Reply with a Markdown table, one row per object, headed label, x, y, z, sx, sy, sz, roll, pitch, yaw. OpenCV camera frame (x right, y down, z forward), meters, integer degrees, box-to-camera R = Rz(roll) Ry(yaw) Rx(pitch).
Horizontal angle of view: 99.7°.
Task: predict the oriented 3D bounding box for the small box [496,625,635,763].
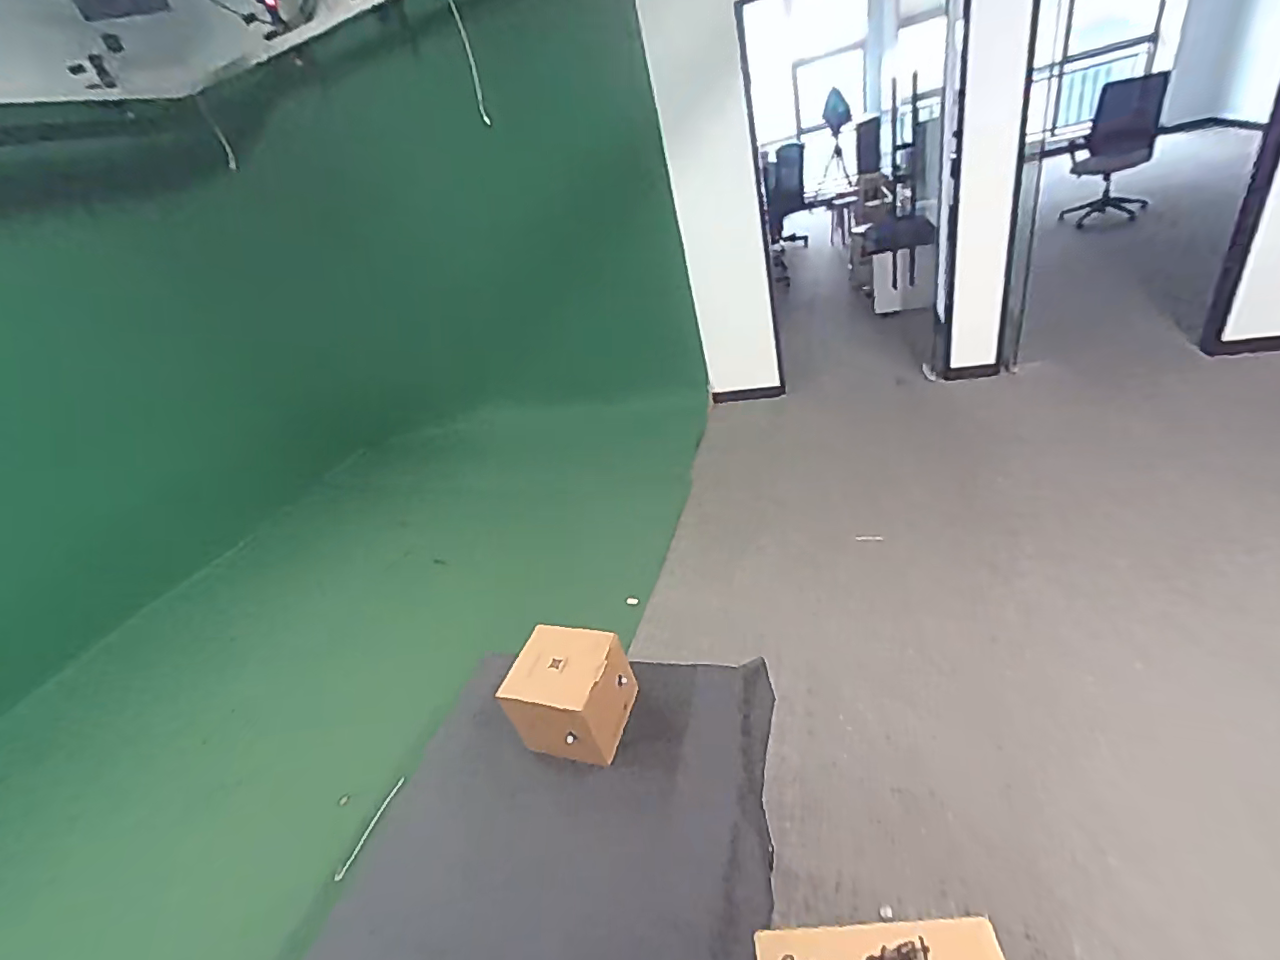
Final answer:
| label | x | y | z | sx | sy | sz | roll | pitch | yaw |
| --- | --- | --- | --- | --- | --- | --- | --- | --- | --- |
| small box | -0.126 | 0.396 | 1.004 | 0.179 | 0.176 | 0.168 | -2 | 32 | 24 |
